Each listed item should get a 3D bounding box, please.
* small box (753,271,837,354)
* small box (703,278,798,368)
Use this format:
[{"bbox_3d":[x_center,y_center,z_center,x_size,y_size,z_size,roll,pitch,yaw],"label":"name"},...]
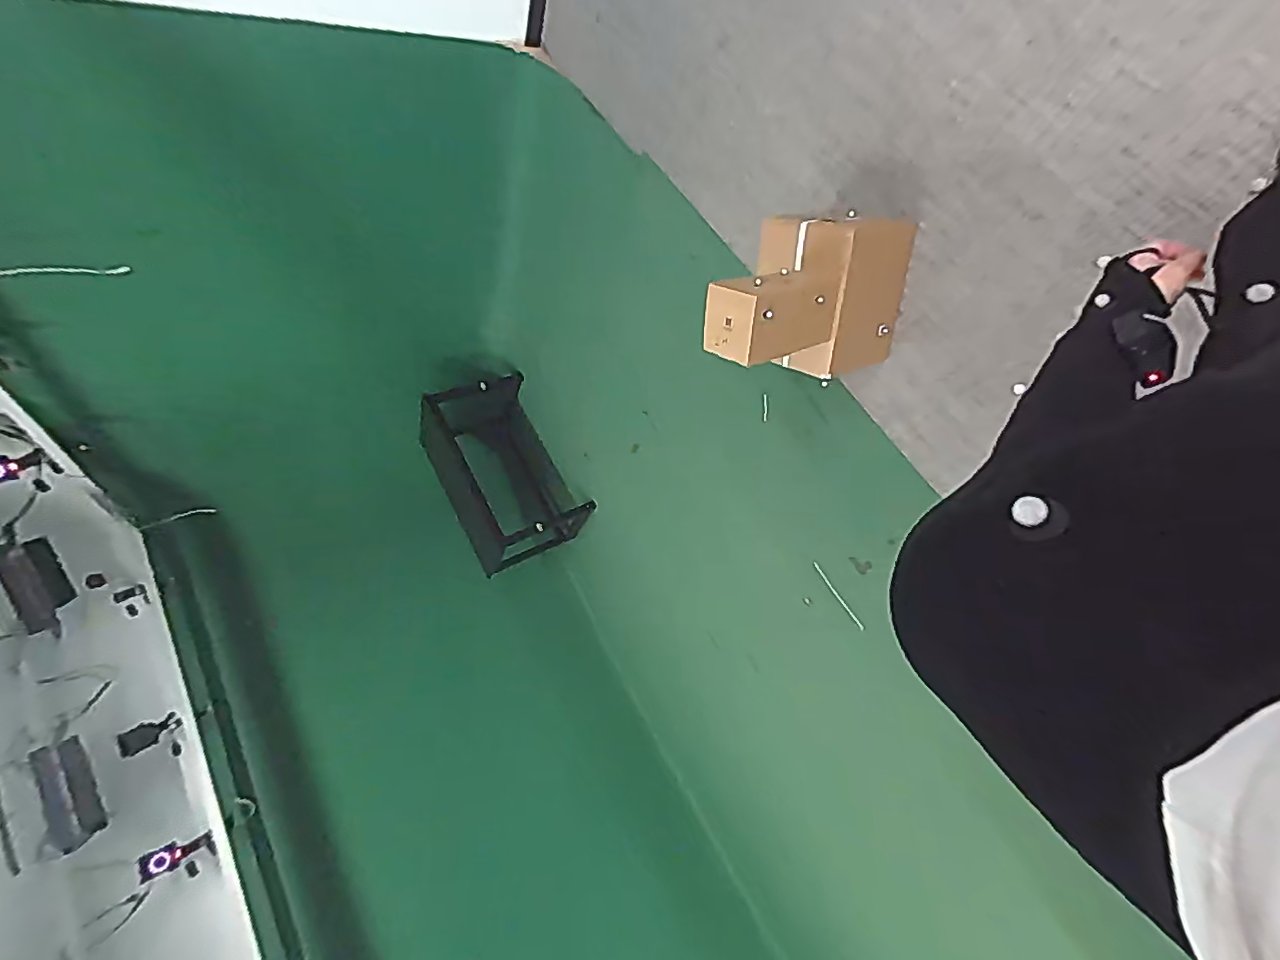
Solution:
[{"bbox_3d":[0.415,-0.467,1.482,0.168,0.176,0.179,33,135,43],"label":"small box"},{"bbox_3d":[0.286,-0.413,1.396,0.168,0.176,0.179,36,137,42],"label":"small box"}]
